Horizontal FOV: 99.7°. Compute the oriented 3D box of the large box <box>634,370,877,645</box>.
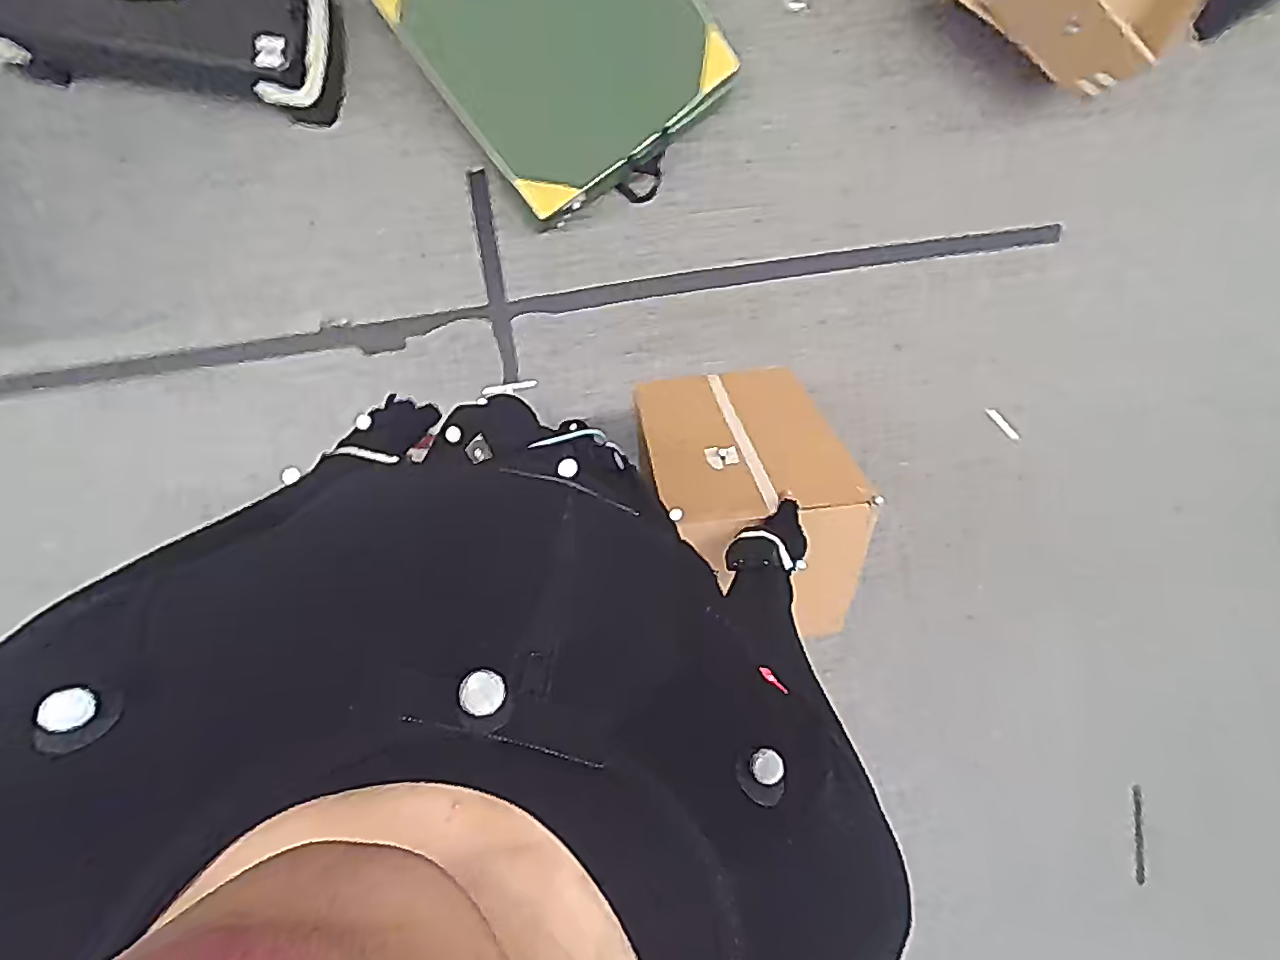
[{"bbox_3d":[0.174,0.038,1.020,0.320,0.408,0.320,-8,132,-3],"label":"large box"}]
